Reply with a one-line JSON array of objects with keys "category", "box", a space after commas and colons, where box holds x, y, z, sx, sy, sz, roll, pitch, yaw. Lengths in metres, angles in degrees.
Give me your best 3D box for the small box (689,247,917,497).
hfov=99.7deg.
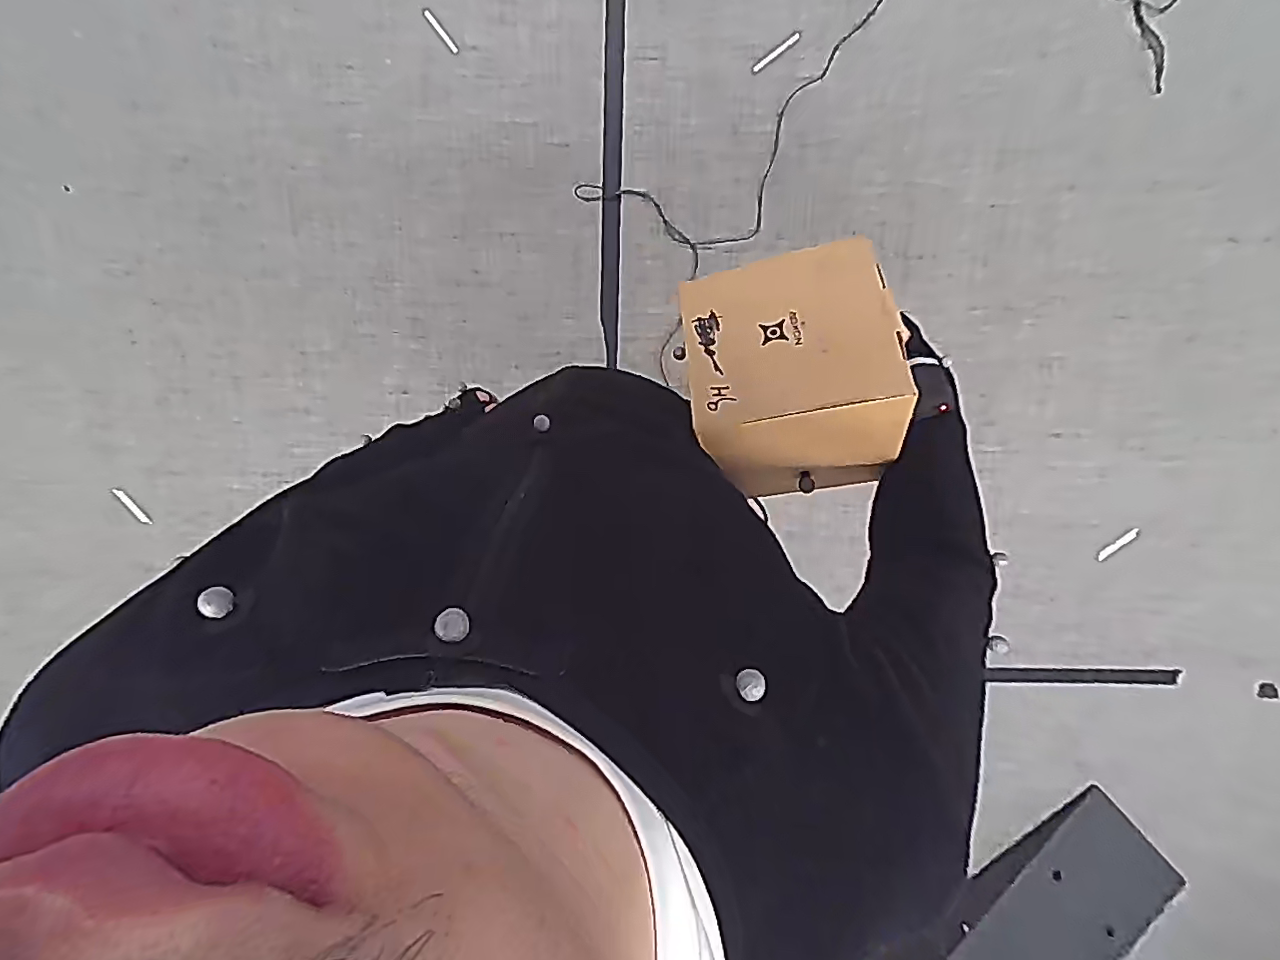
[{"category": "small box", "box": [0.154, -0.096, 0.548, 0.179, 0.176, 0.168, -9, 63, 14]}]
